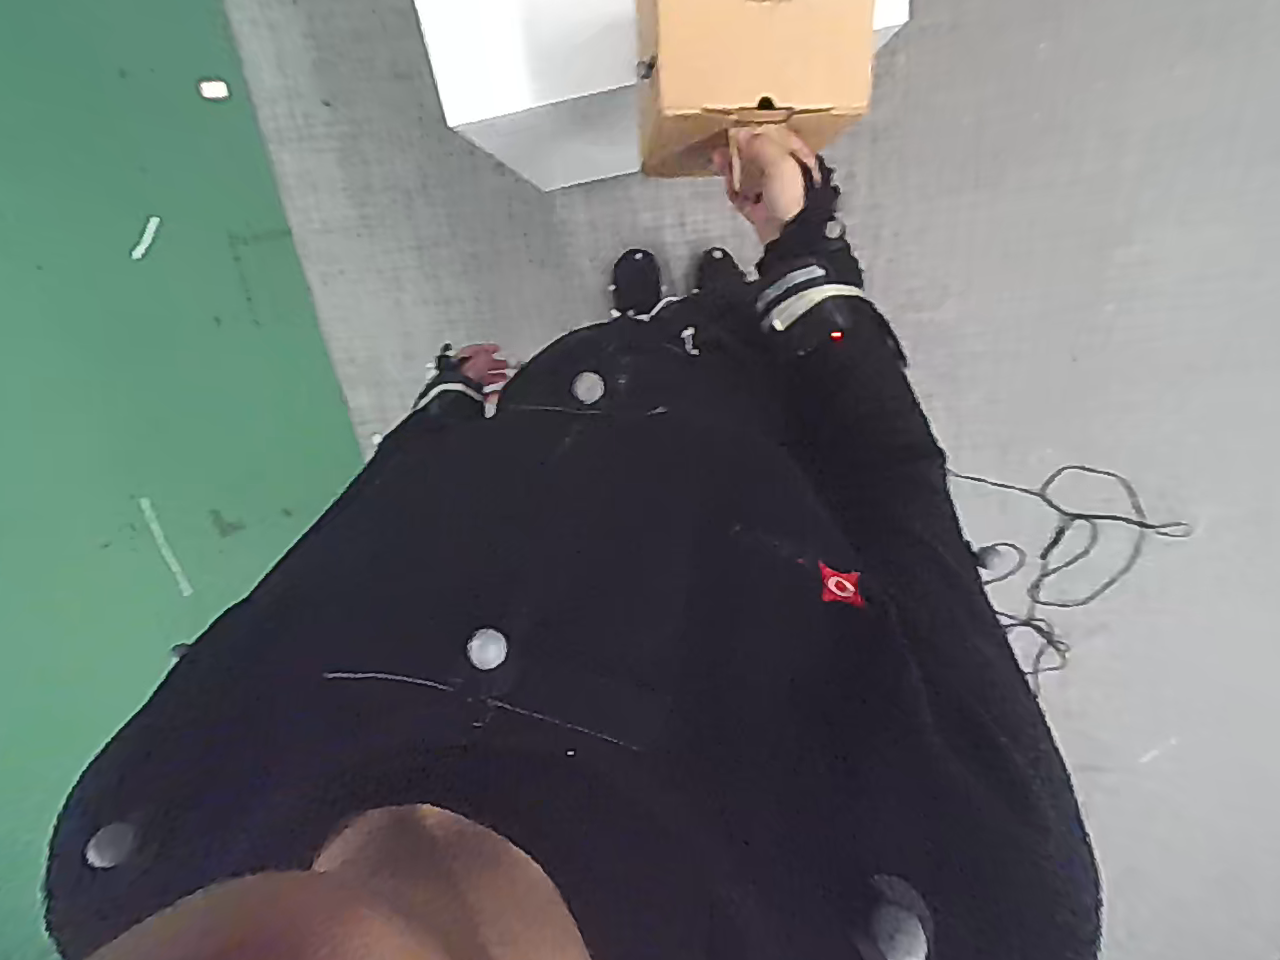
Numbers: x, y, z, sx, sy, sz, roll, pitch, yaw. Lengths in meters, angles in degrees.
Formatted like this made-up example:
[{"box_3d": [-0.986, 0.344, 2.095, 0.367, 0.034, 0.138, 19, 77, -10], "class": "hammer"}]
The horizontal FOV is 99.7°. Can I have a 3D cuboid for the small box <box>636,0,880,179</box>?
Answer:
[{"box_3d": [0.088, -0.382, 0.469, 0.168, 0.176, 0.179, -4, 105, -5], "class": "small box"}]
